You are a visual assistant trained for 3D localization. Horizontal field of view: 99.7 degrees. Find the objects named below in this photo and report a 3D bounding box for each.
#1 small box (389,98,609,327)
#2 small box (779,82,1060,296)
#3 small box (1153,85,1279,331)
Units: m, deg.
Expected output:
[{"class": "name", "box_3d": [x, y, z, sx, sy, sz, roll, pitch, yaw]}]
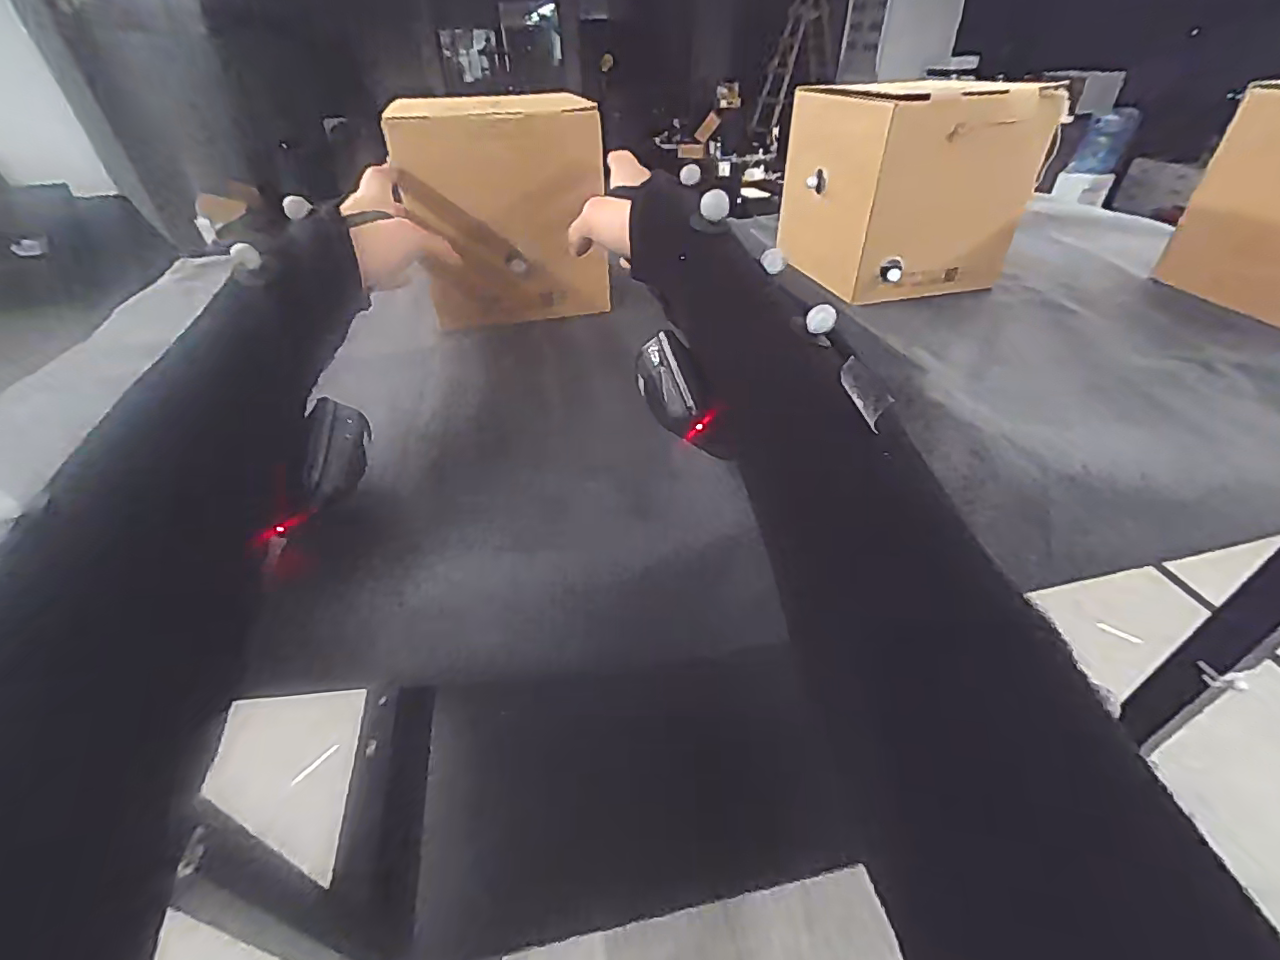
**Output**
[{"class": "small box", "box_3d": [-0.128, -0.266, 0.530, 0.168, 0.176, 0.179, -10, 40, -11]}, {"class": "small box", "box_3d": [0.261, -0.296, 0.556, 0.168, 0.176, 0.179, -10, 39, -10]}, {"class": "small box", "box_3d": [0.614, -0.230, 0.458, 0.168, 0.176, 0.179, -6, 39, -4]}]
